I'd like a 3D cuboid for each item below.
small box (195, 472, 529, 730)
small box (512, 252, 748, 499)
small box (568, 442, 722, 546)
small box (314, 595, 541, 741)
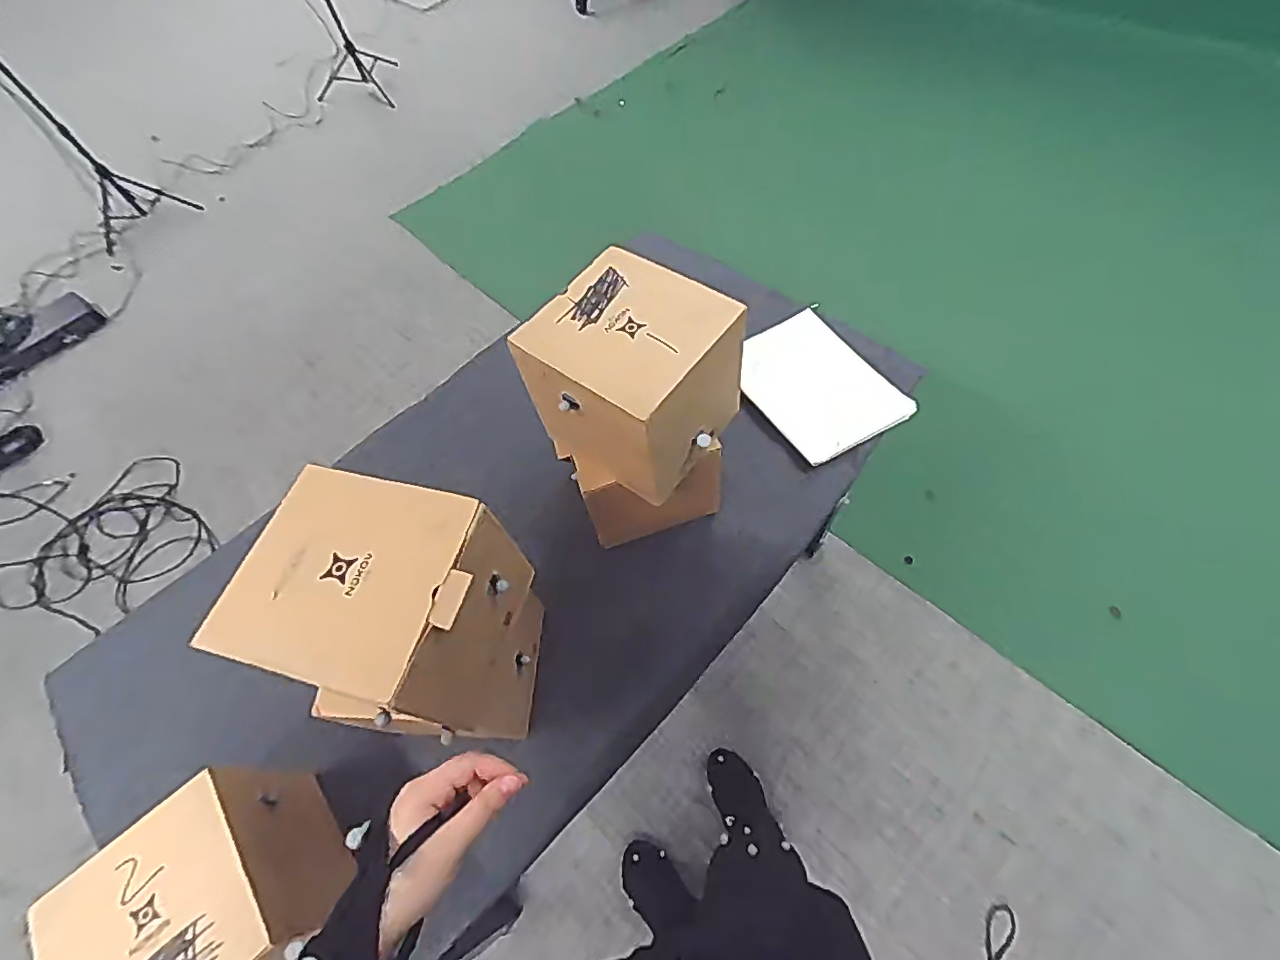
[{"bbox_3d":[-0.221,0.116,0.489,0.179,0.176,0.168,10,61,12],"label":"small box"},{"bbox_3d":[-0.003,-0.107,0.591,0.179,0.176,0.168,32,69,22],"label":"small box"},{"bbox_3d":[-0.001,-0.033,0.739,0.179,0.176,0.168,-19,60,-4],"label":"small box"},{"bbox_3d":[-0.223,0.204,0.627,0.179,0.176,0.168,0,60,6],"label":"small box"}]
